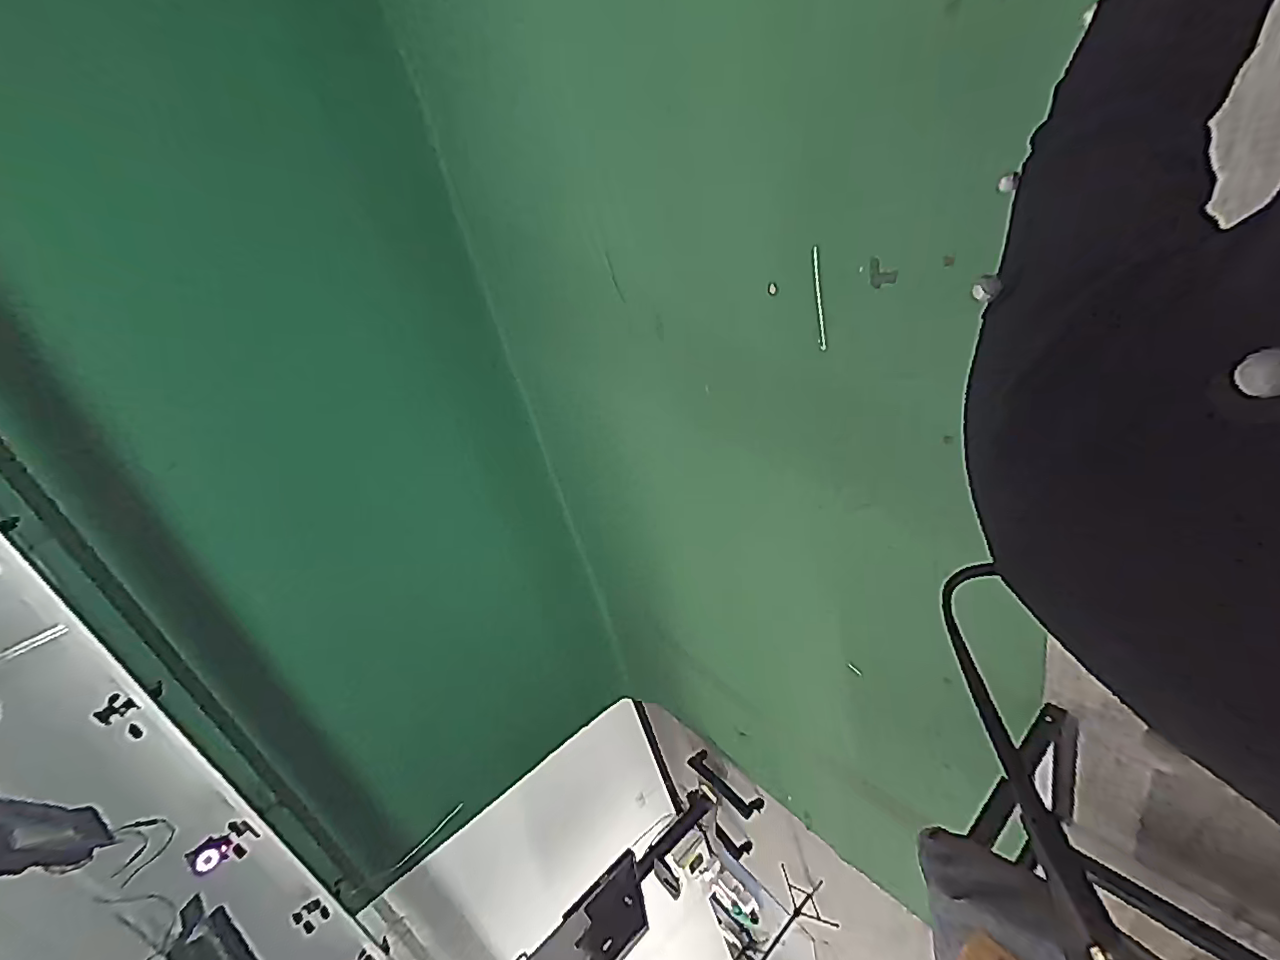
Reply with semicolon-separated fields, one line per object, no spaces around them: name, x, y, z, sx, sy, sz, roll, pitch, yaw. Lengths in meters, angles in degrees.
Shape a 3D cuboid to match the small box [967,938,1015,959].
small box;0.826;1.210;1.240;0.168;0.176;0.179;31;143;42
